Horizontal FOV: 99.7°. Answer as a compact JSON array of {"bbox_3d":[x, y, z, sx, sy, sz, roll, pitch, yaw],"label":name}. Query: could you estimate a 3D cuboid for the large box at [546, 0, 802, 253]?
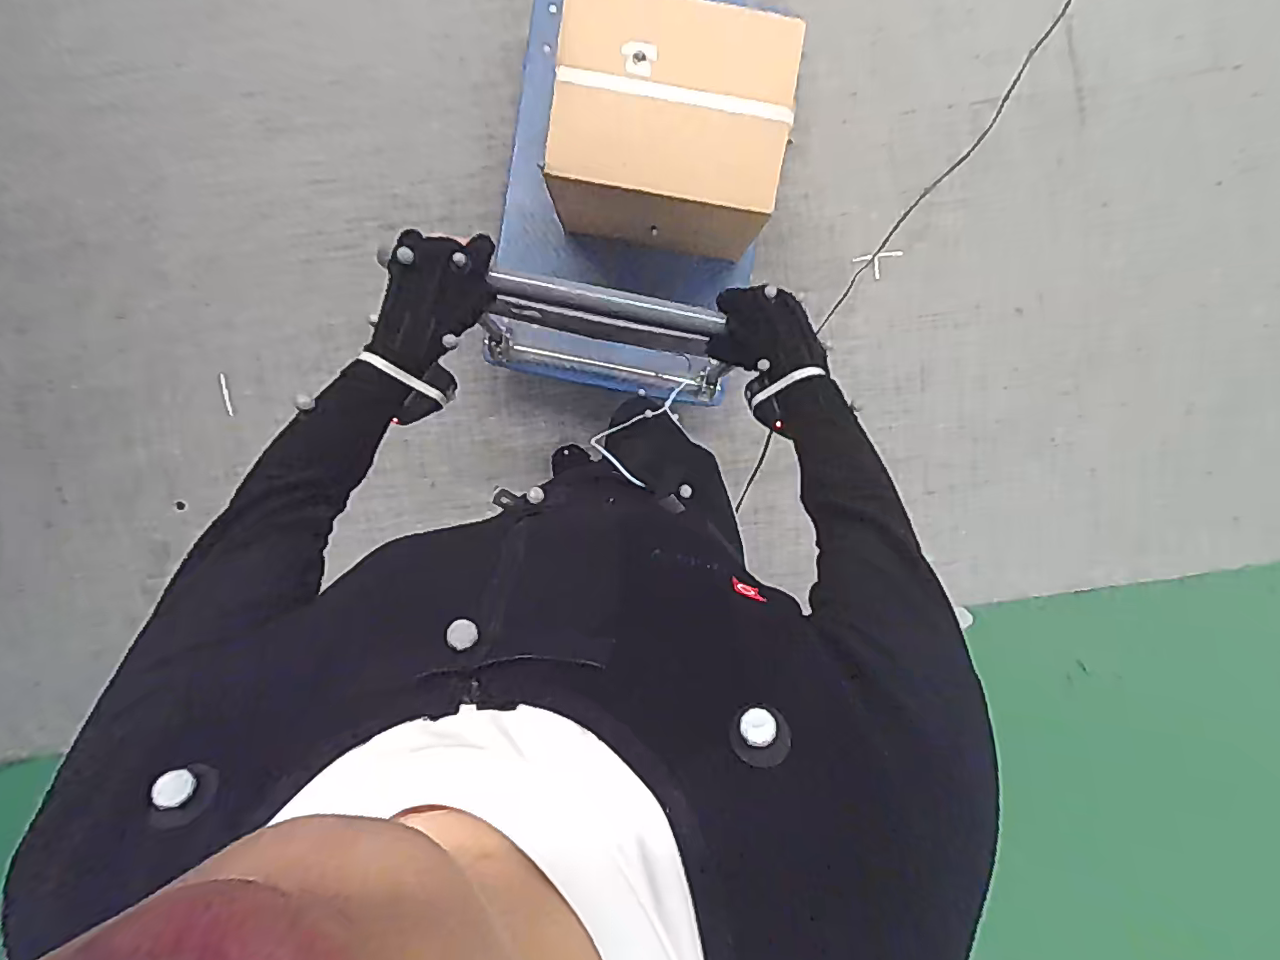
[{"bbox_3d":[0.057,-0.670,1.065,0.408,0.320,0.320,9,97,-1],"label":"large box"}]
